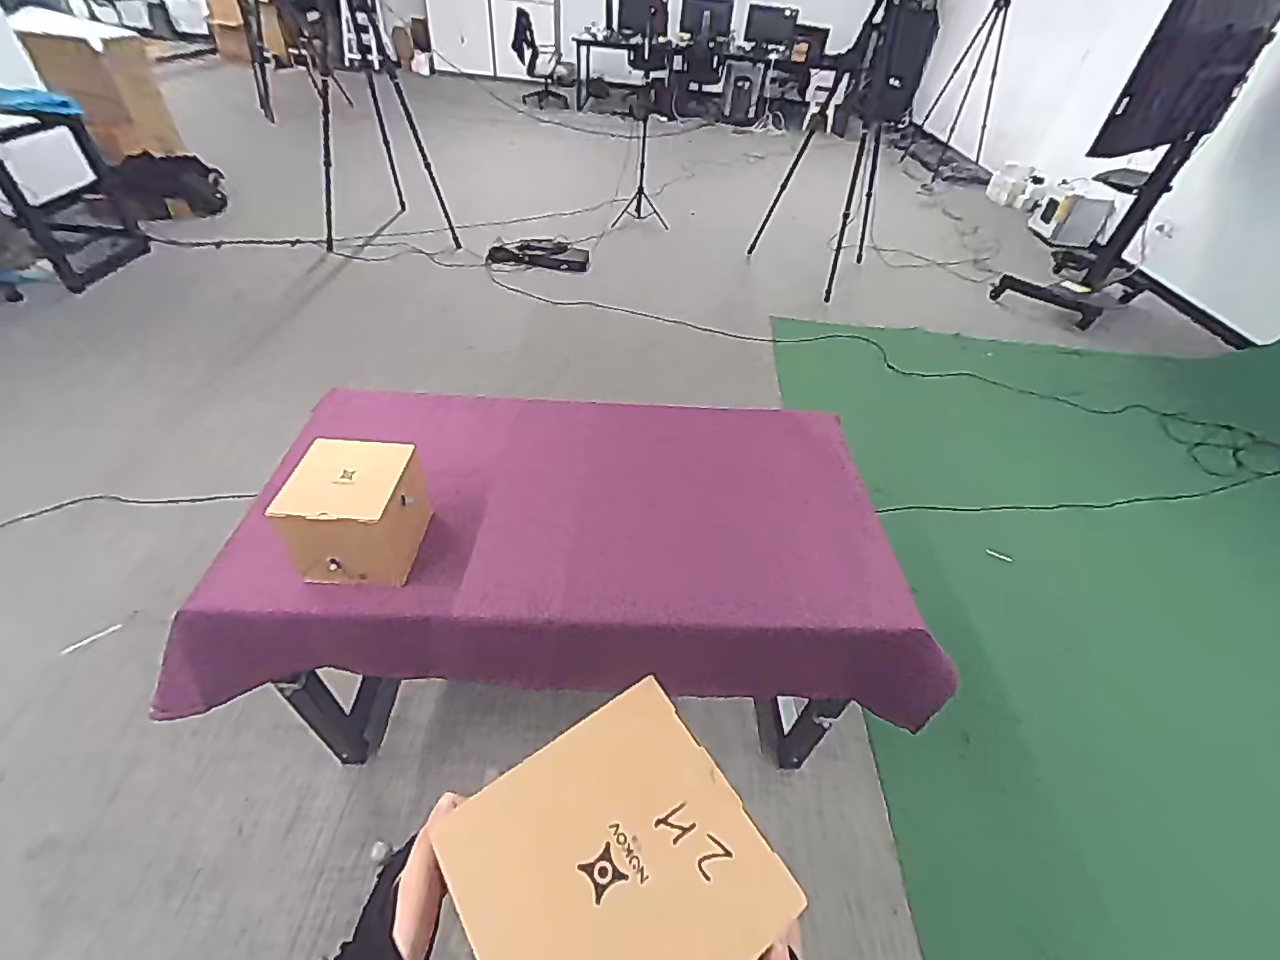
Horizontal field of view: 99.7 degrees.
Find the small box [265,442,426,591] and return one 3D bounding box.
[{"bbox_3d":[-0.470,0.060,0.899,0.168,0.176,0.179,4,44,-3],"label":"small box"}]
